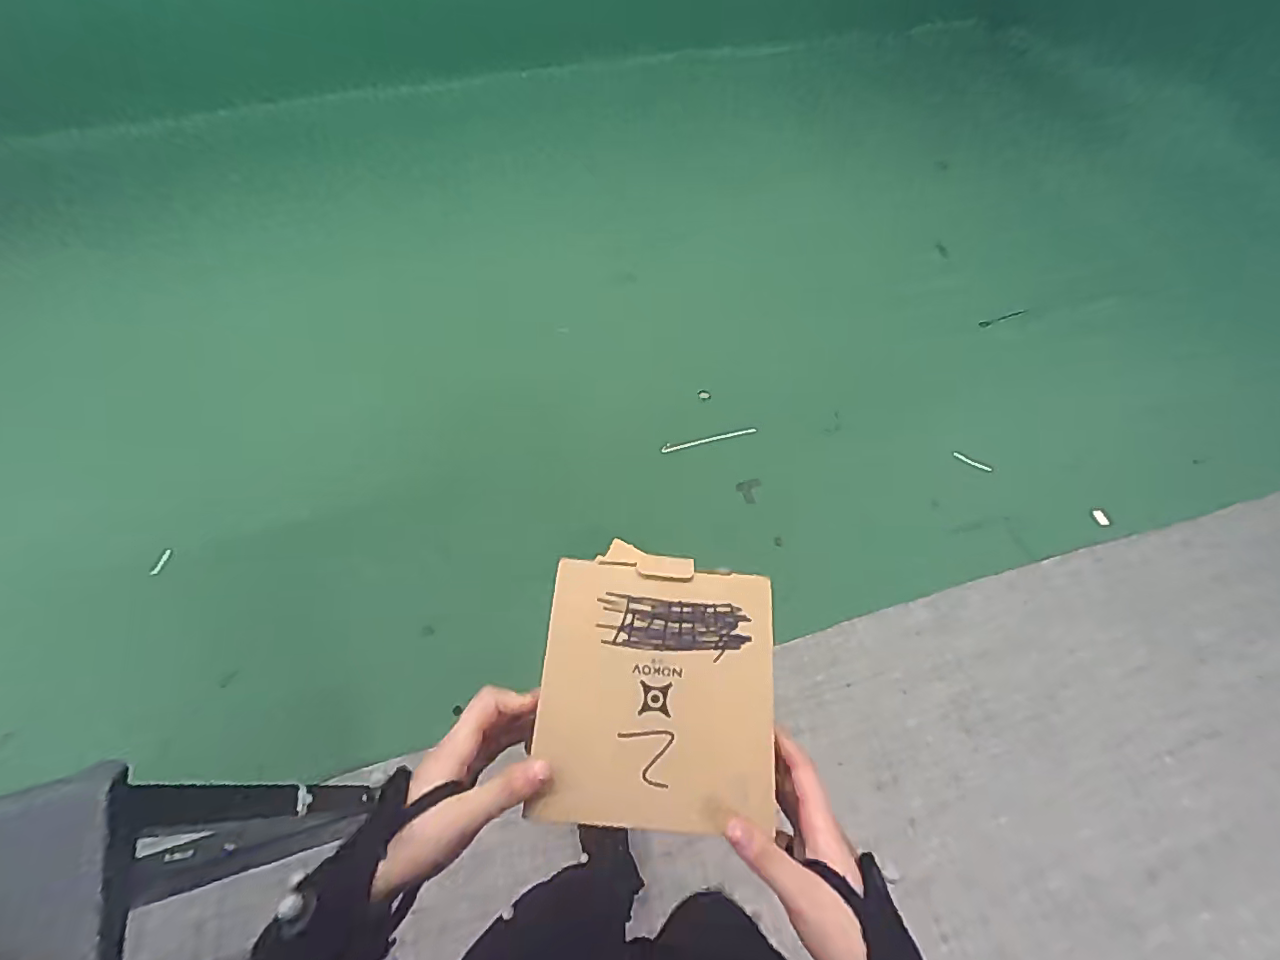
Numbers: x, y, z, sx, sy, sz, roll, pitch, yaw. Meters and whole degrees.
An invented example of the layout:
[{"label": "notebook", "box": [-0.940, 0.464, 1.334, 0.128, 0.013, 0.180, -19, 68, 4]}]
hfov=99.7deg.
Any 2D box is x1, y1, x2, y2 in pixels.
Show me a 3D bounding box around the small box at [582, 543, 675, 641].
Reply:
[{"label": "small box", "box": [-0.026, 0.294, 1.386, 0.179, 0.176, 0.168, 26, 63, 14]}]
